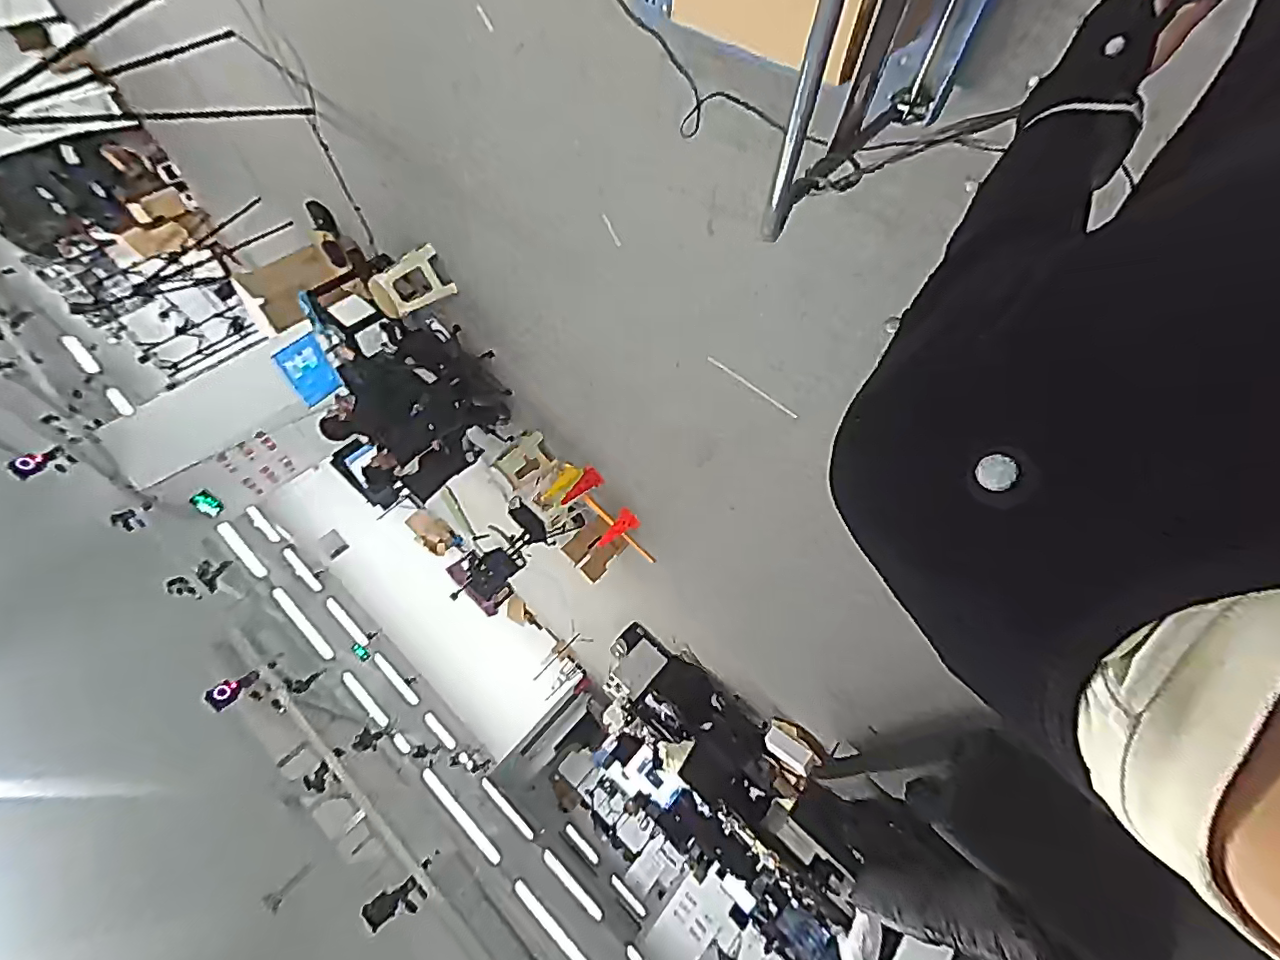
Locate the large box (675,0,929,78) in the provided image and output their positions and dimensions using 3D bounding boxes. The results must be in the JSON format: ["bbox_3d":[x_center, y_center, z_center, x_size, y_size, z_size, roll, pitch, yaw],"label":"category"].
[{"bbox_3d":[0.321,-1.010,0.975,0.408,0.320,0.320,38,154,19],"label":"large box"}]
